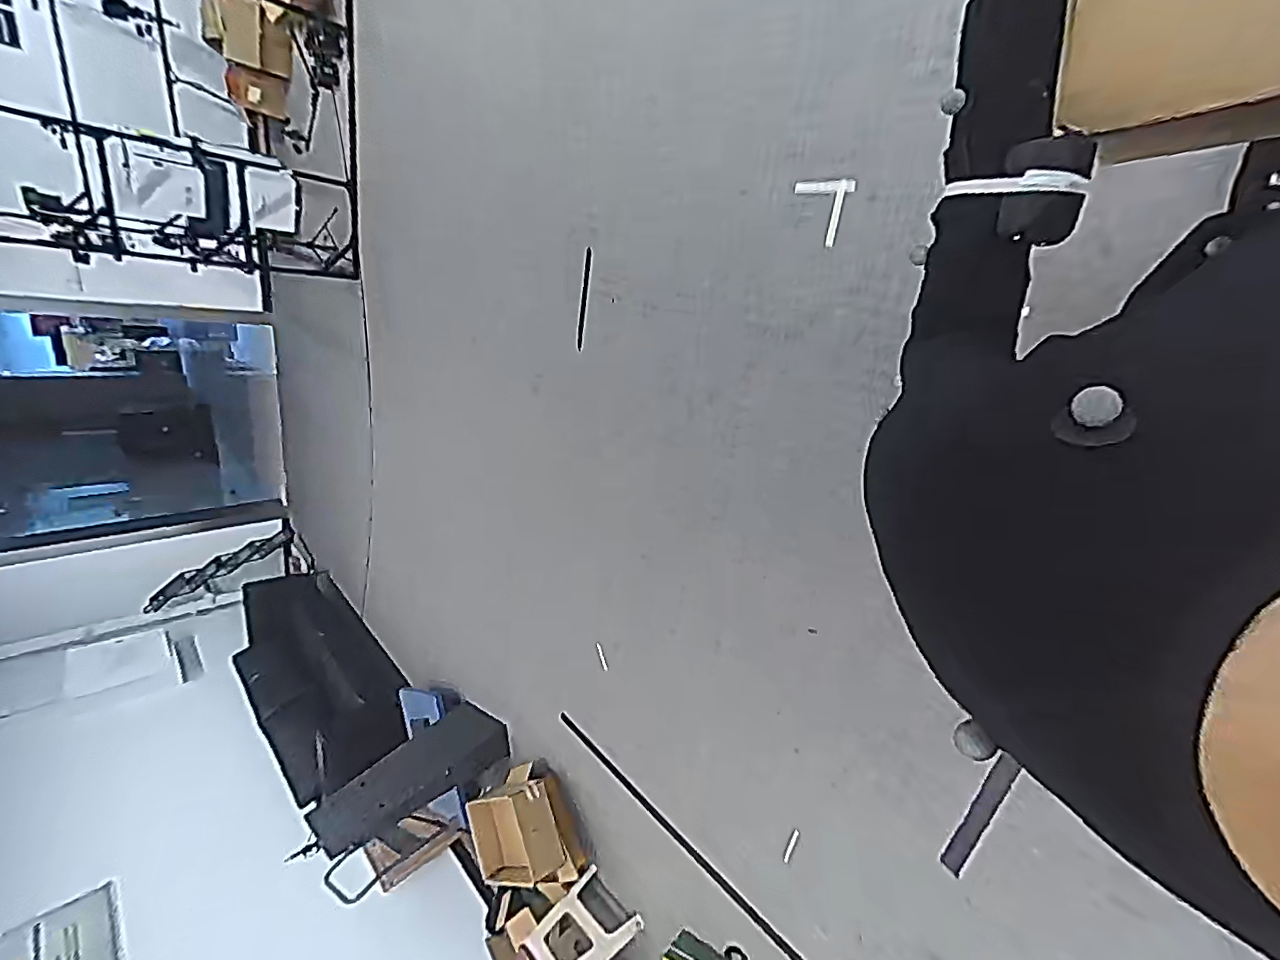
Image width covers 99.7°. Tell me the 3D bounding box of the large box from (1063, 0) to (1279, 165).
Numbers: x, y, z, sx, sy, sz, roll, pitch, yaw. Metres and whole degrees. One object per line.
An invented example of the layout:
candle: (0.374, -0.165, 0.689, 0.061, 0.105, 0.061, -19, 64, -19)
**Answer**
large box: (0.528, -0.411, 0.312, 0.408, 0.320, 0.320, 11, 117, 41)
